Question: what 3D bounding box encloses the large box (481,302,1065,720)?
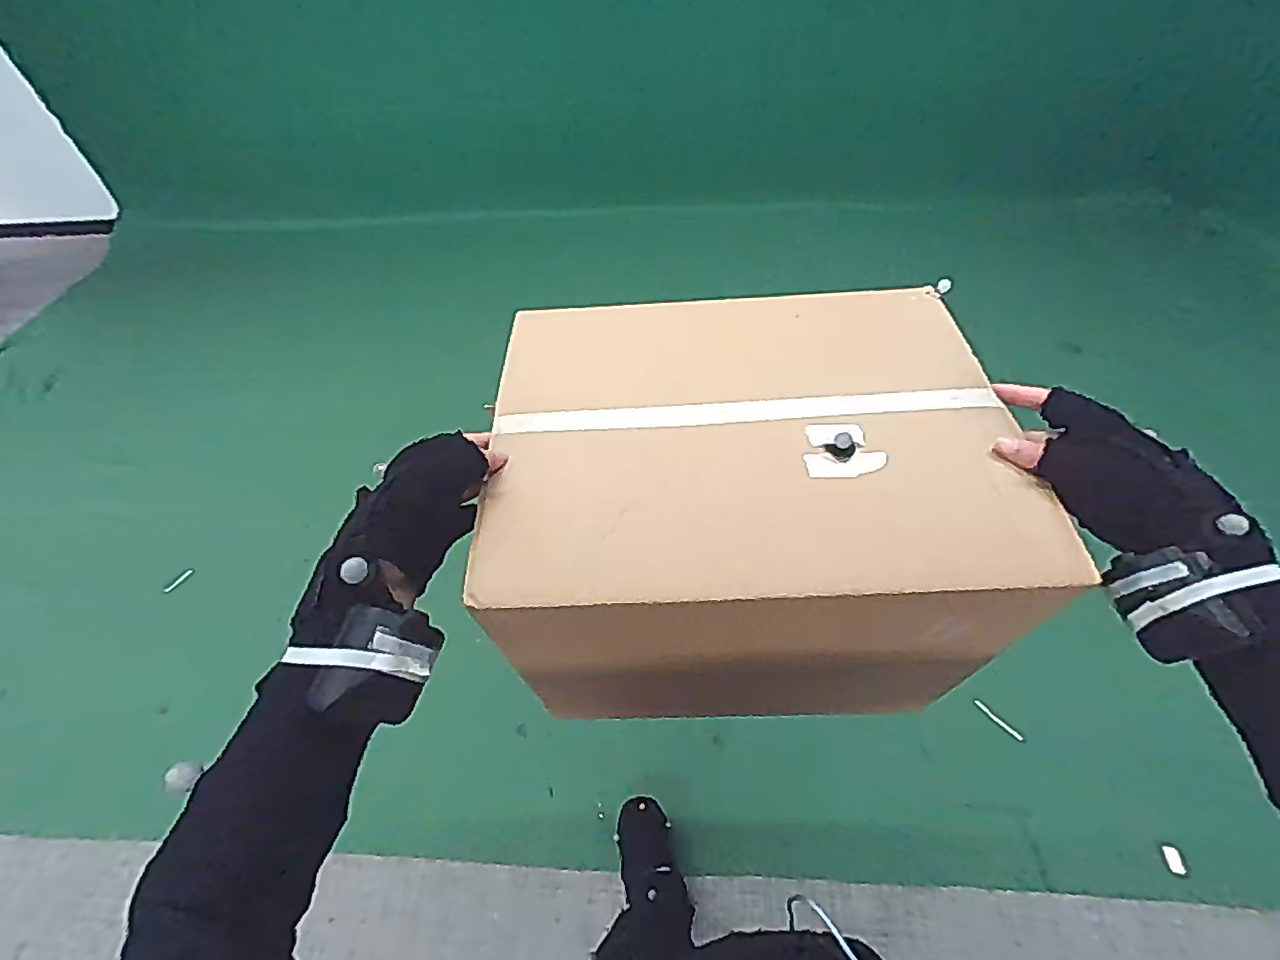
[{"bbox_3d":[0.090,0.046,0.570,0.408,0.320,0.320,-3,54,2],"label":"large box"}]
